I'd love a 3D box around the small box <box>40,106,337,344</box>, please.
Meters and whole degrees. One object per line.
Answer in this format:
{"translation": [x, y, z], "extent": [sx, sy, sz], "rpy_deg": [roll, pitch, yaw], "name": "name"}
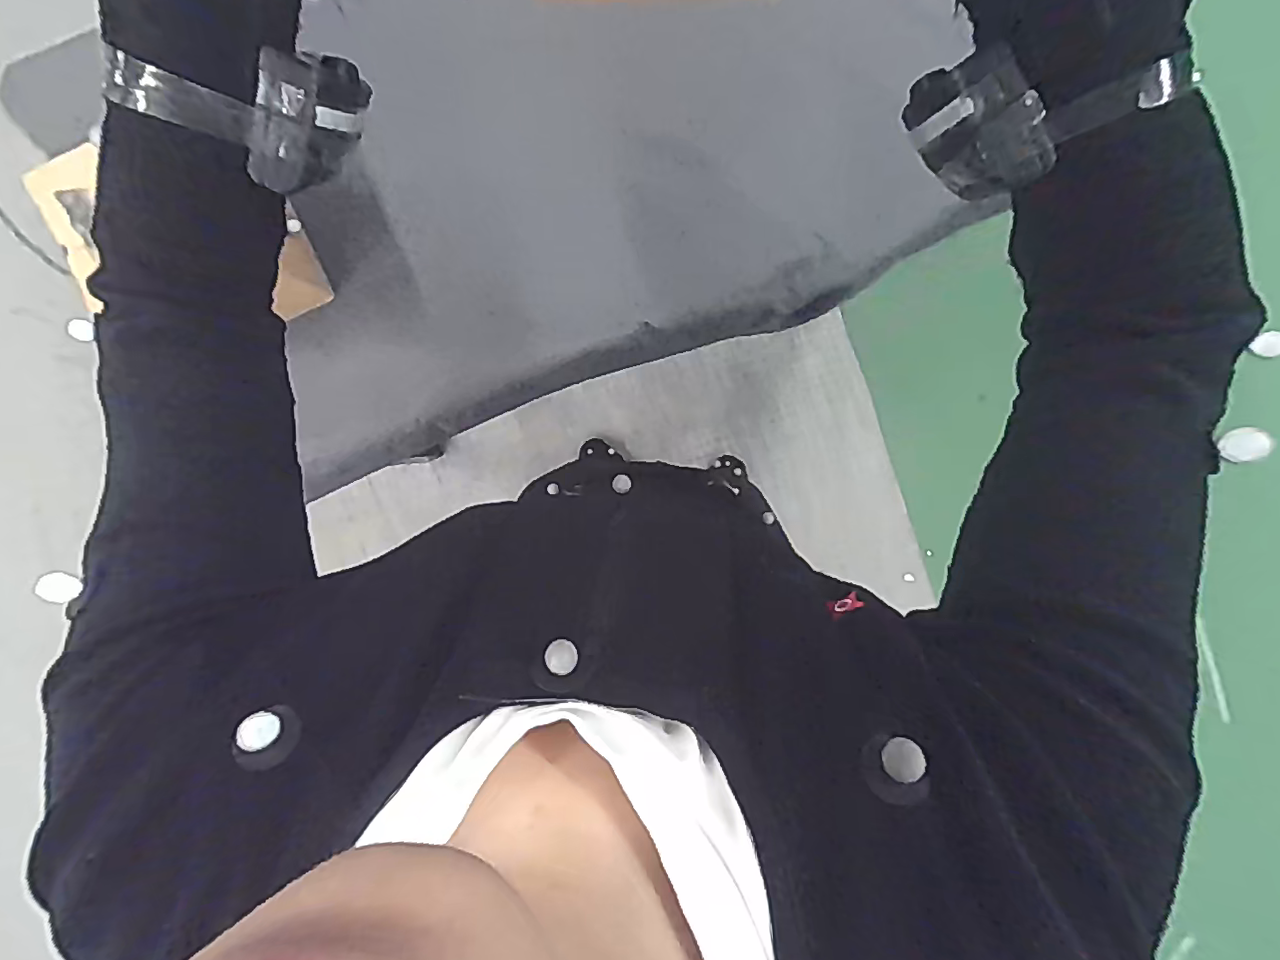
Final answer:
{"translation": [-0.507, -0.279, 0.637], "extent": [0.179, 0.176, 0.168], "rpy_deg": [-24, 94, 1], "name": "small box"}
